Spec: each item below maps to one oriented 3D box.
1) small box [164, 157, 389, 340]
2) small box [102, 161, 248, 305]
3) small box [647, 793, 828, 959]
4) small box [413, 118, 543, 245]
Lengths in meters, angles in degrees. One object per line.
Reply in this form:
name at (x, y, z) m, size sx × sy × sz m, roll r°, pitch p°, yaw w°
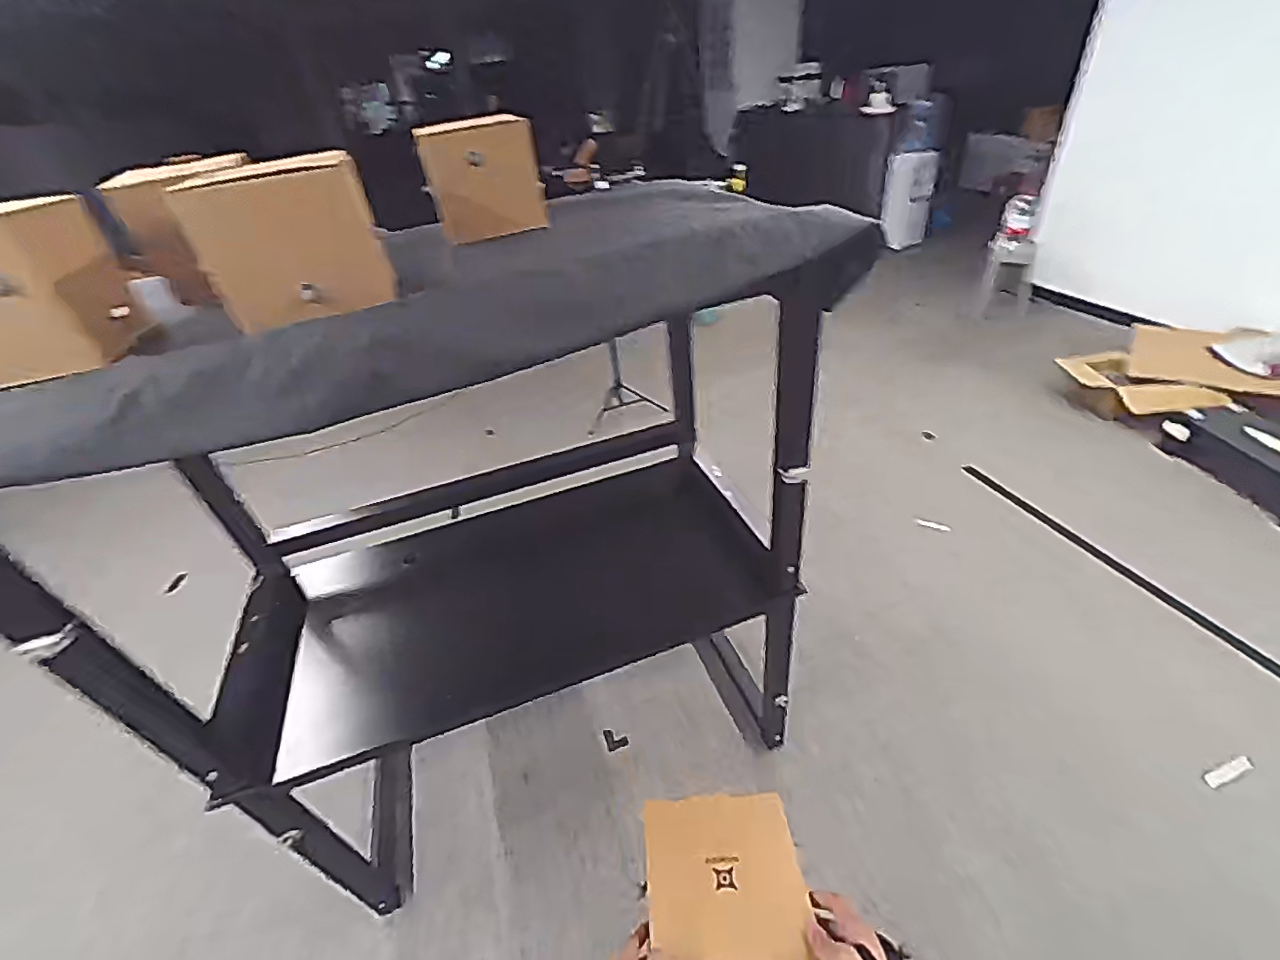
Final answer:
small box at (-0.438, -0.299, 0.693) m, size 0.179 × 0.176 × 0.168 m, roll -18°, pitch 38°, yaw -13°
small box at (-0.686, -0.397, 0.867) m, size 0.168 × 0.176 × 0.179 m, roll -23°, pitch 40°, yaw -16°
small box at (0.094, 0.487, 0.601) m, size 0.168 × 0.176 × 0.179 m, roll -1°, pitch 23°, yaw -1°
small box at (-0.289, -0.537, 0.972) m, size 0.179 × 0.176 × 0.168 m, roll -17°, pitch 39°, yaw -12°
